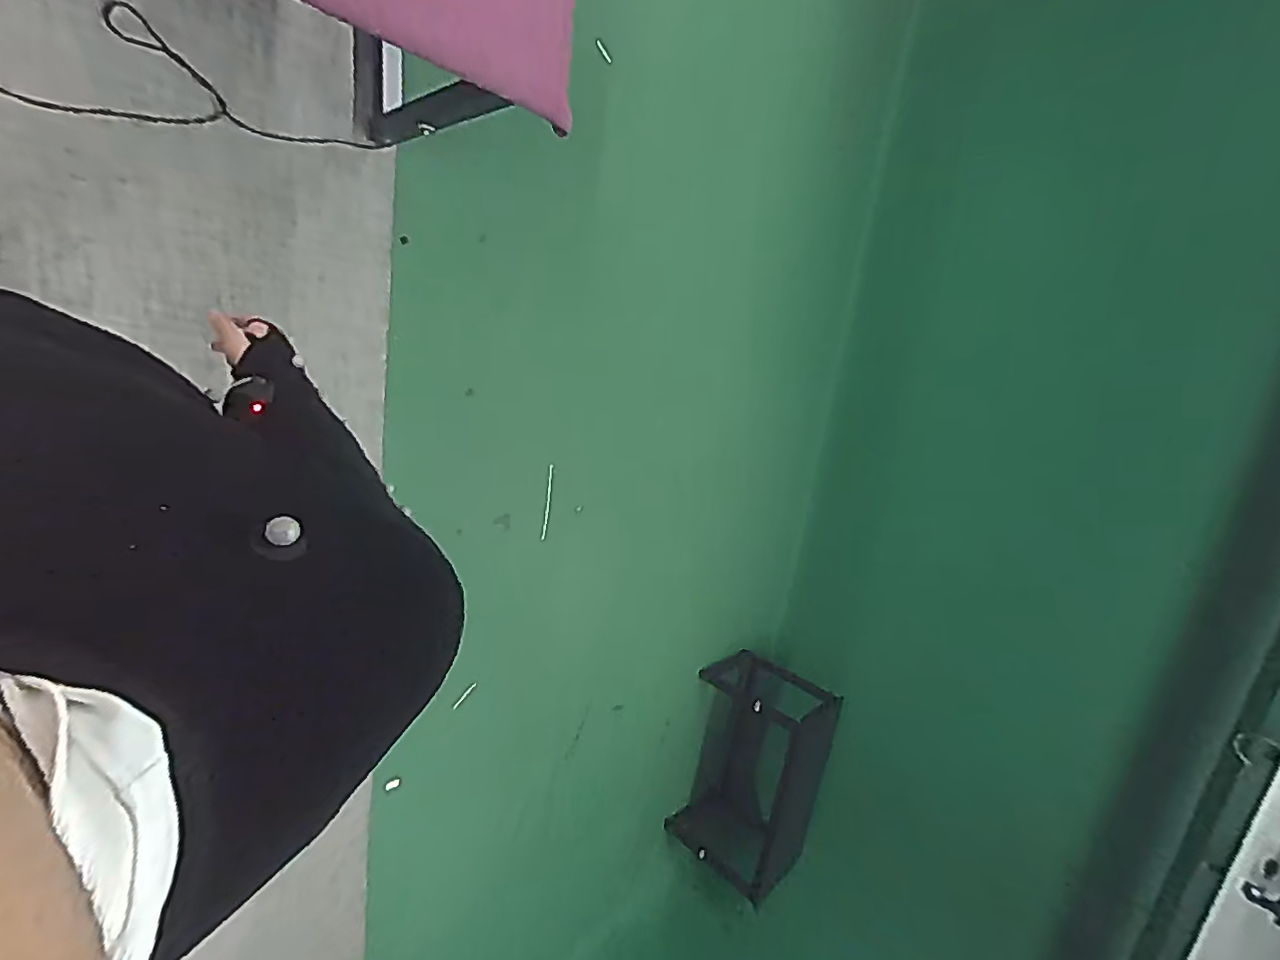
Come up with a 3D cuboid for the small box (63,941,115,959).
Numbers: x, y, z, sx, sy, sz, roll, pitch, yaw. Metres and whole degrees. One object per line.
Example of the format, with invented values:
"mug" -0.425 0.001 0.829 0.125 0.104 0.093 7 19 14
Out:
"small box" -1.415 1.321 1.347 0.168 0.176 0.179 -16 117 -44
